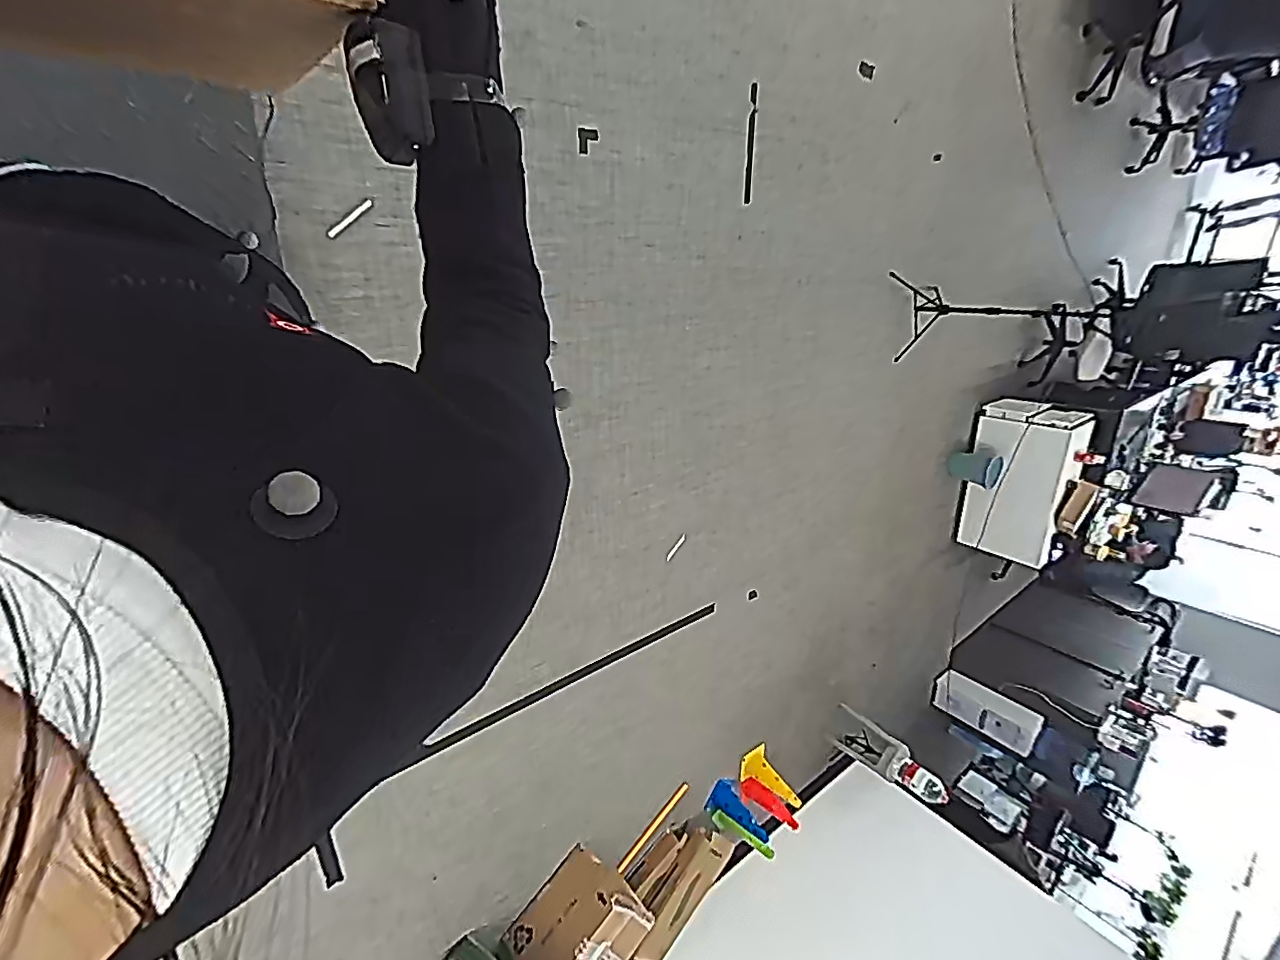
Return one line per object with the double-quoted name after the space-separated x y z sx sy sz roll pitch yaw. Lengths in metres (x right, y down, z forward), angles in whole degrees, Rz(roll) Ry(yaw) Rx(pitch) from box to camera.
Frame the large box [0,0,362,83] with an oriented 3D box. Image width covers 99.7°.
-0.398 -0.415 0.234 0.408 0.320 0.320 -17 122 -37 "large box"
